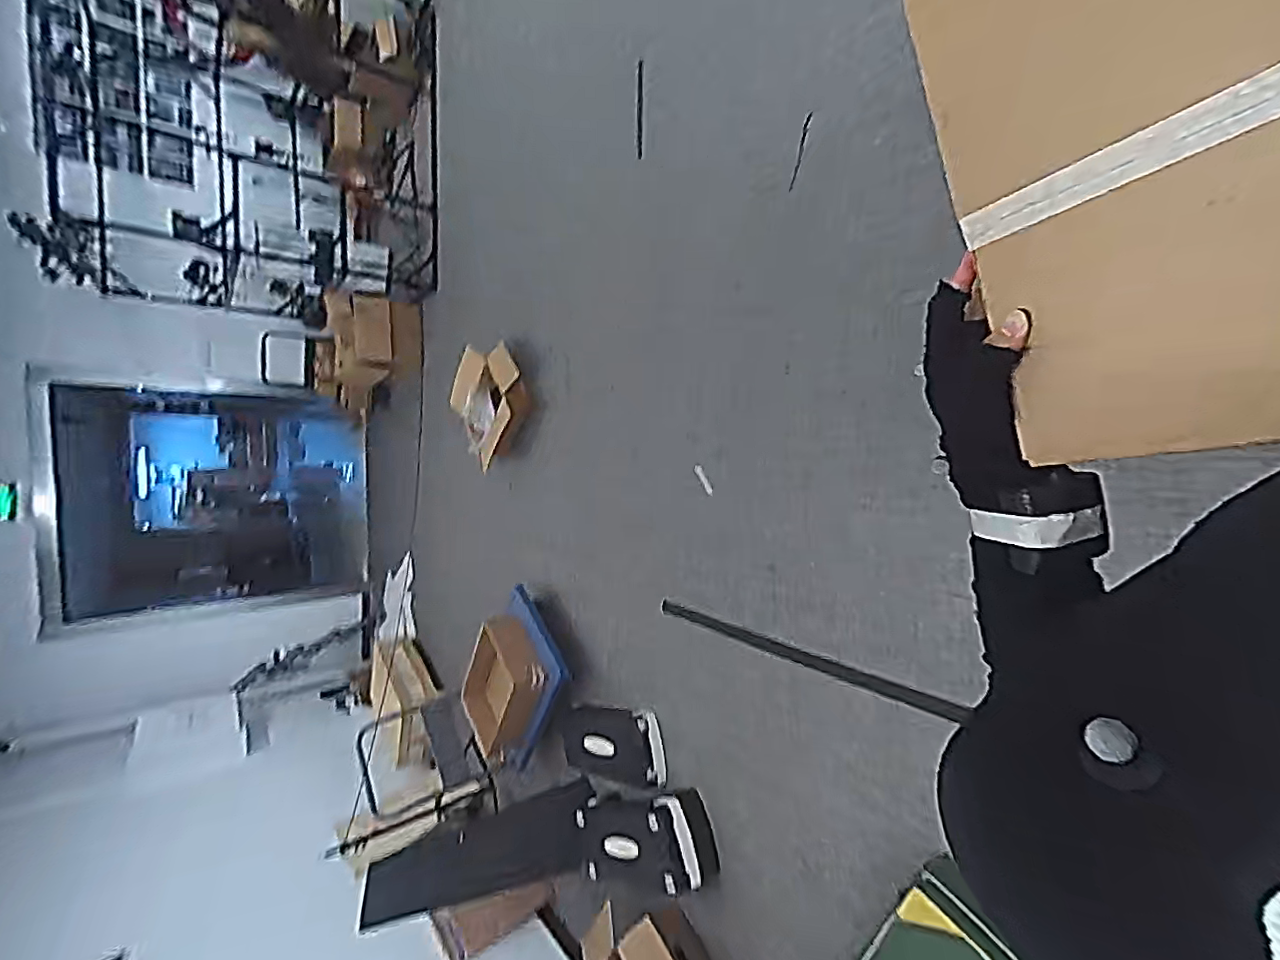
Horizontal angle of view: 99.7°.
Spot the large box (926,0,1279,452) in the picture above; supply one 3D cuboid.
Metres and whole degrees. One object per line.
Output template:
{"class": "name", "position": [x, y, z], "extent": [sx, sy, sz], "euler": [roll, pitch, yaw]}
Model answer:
{"class": "large box", "position": [0.443, -0.224, 0.266], "extent": [0.408, 0.320, 0.320], "euler": [-9, 101, 56]}
